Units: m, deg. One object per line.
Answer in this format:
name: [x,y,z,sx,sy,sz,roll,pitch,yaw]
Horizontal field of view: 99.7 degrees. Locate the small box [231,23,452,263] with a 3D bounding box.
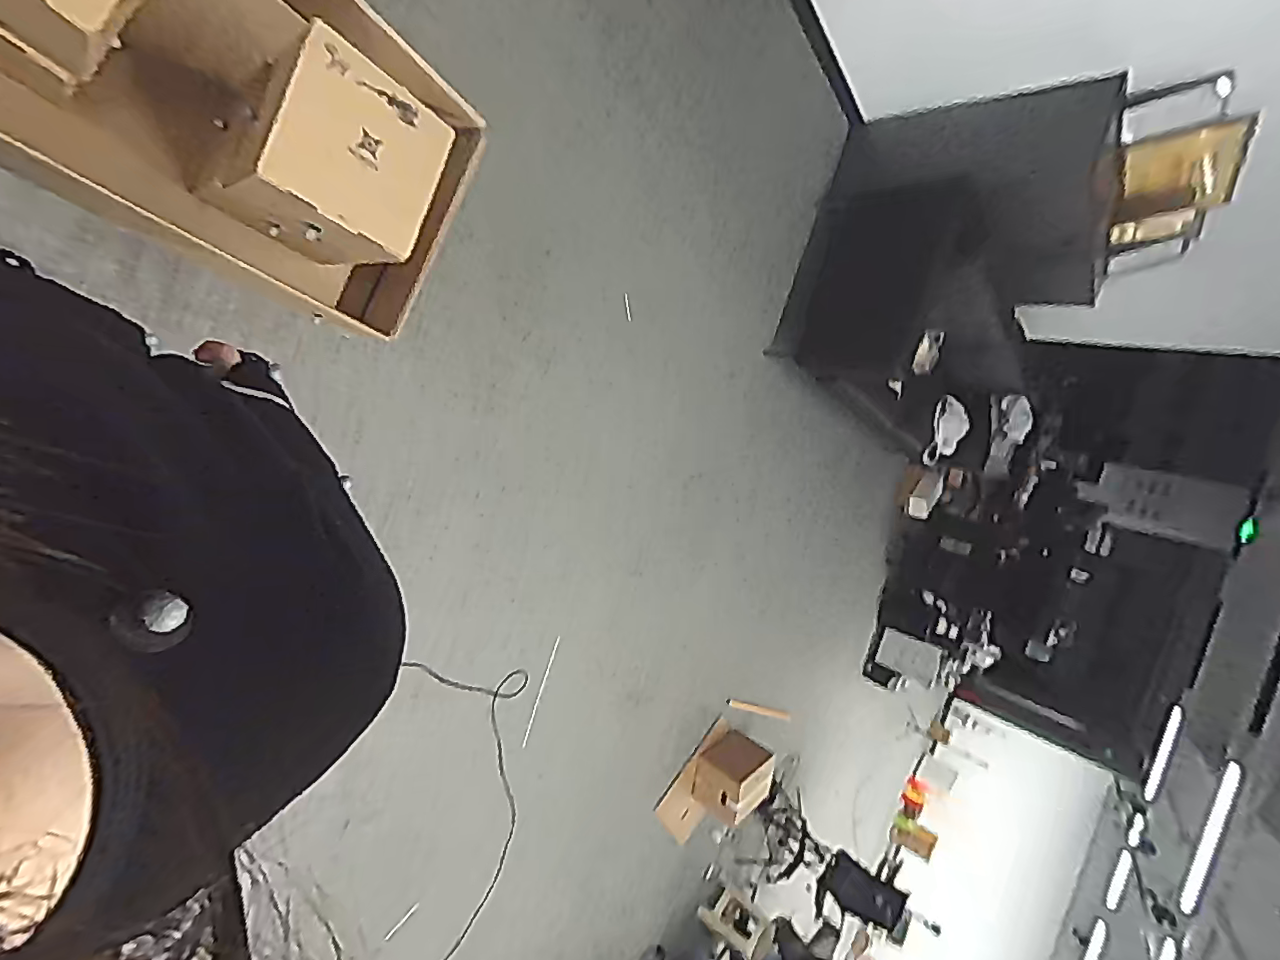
small box: [-0.369,-0.390,0.663,0.168,0.176,0.179,23,89,-50]
